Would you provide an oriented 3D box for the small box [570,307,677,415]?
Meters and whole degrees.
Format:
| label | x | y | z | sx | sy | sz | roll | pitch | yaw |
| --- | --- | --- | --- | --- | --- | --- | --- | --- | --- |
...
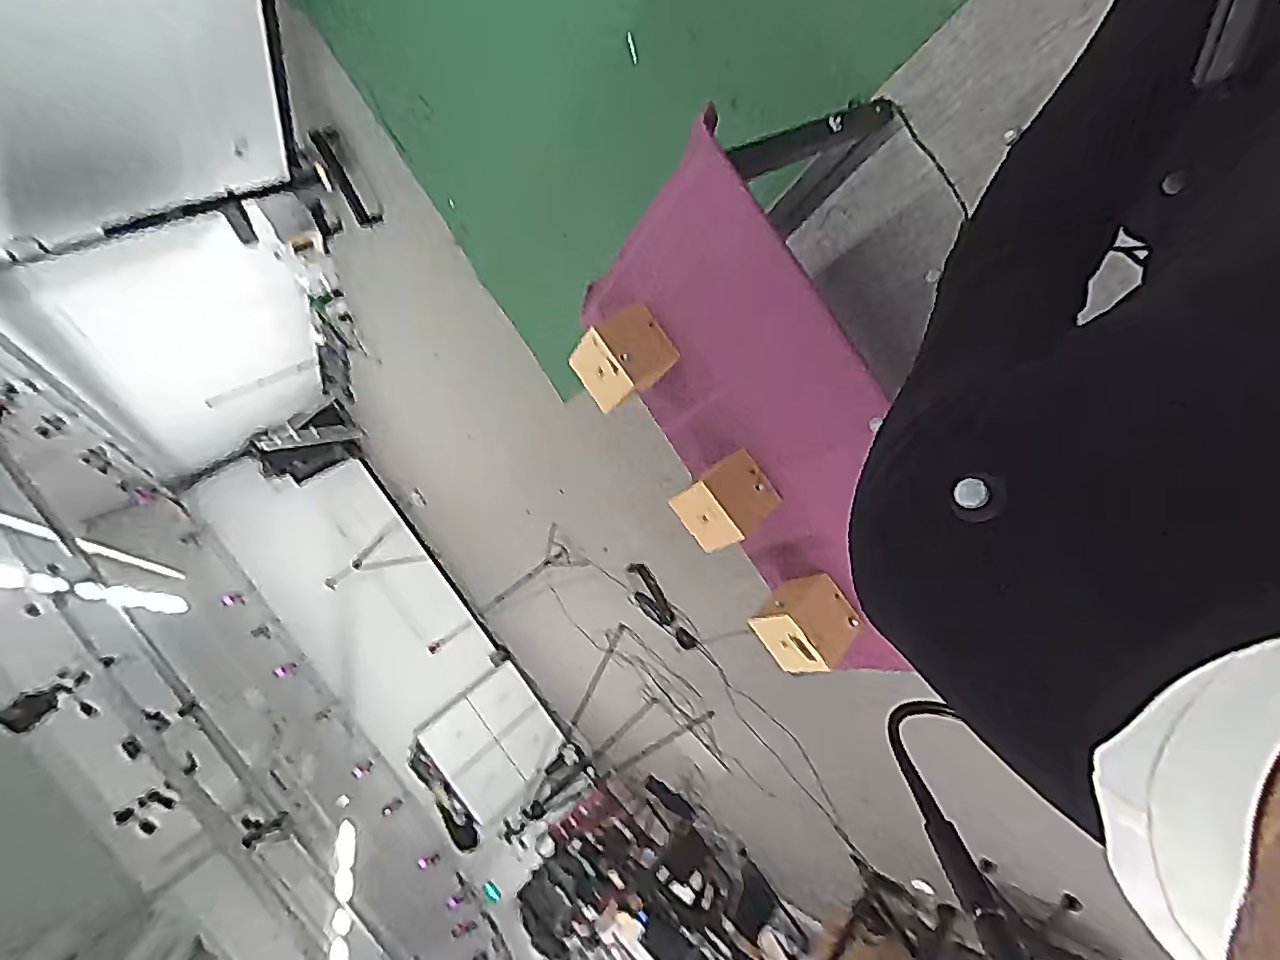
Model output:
| label | x | y | z | sx | sy | sz | roll | pitch | yaw |
| --- | --- | --- | --- | --- | --- | --- | --- | --- | --- |
| small box | -0.039 | -0.291 | 1.328 | 0.168 | 0.176 | 0.179 | 54 | 150 | -1 |

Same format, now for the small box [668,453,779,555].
| label | x | y | z | sx | sy | sz | roll | pitch | yaw |
| --- | --- | --- | --- | --- | --- | --- | --- | --- | --- |
| small box | 0.208 | 0.060 | 1.336 | 0.168 | 0.176 | 0.179 | 54 | 149 | 0 |

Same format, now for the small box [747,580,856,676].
| label | x | y | z | sx | sy | sz | roll | pitch | yaw |
| --- | --- | --- | --- | --- | --- | --- | --- | --- | --- |
| small box | 0.411 | 0.370 | 1.356 | 0.168 | 0.176 | 0.179 | 54 | 150 | 1 |
